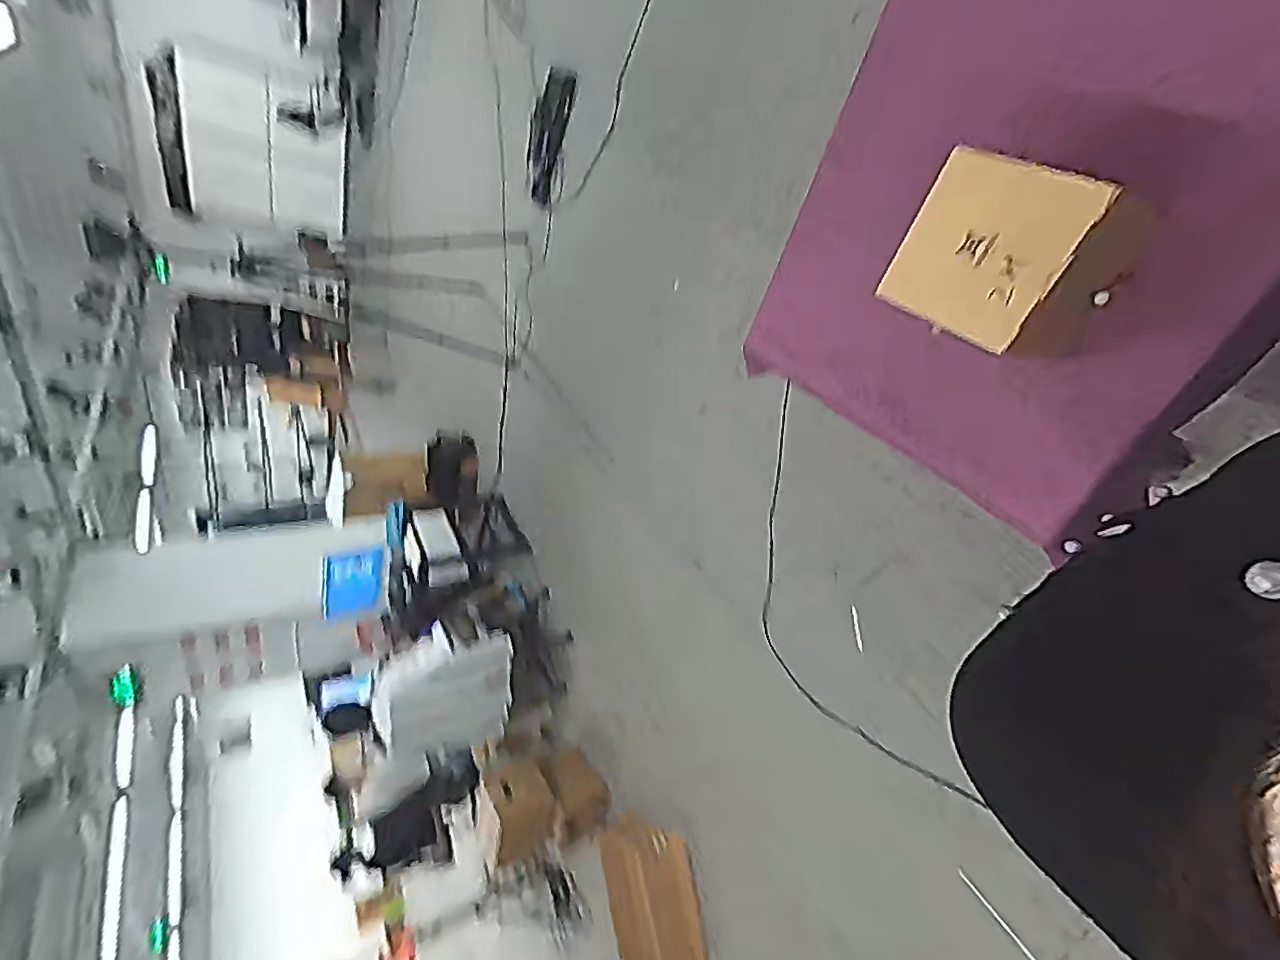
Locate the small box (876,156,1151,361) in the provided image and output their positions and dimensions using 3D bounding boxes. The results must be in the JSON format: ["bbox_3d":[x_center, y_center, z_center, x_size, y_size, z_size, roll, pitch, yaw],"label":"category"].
[{"bbox_3d":[0.428,-0.249,0.631,0.179,0.176,0.168,49,131,39],"label":"small box"}]
